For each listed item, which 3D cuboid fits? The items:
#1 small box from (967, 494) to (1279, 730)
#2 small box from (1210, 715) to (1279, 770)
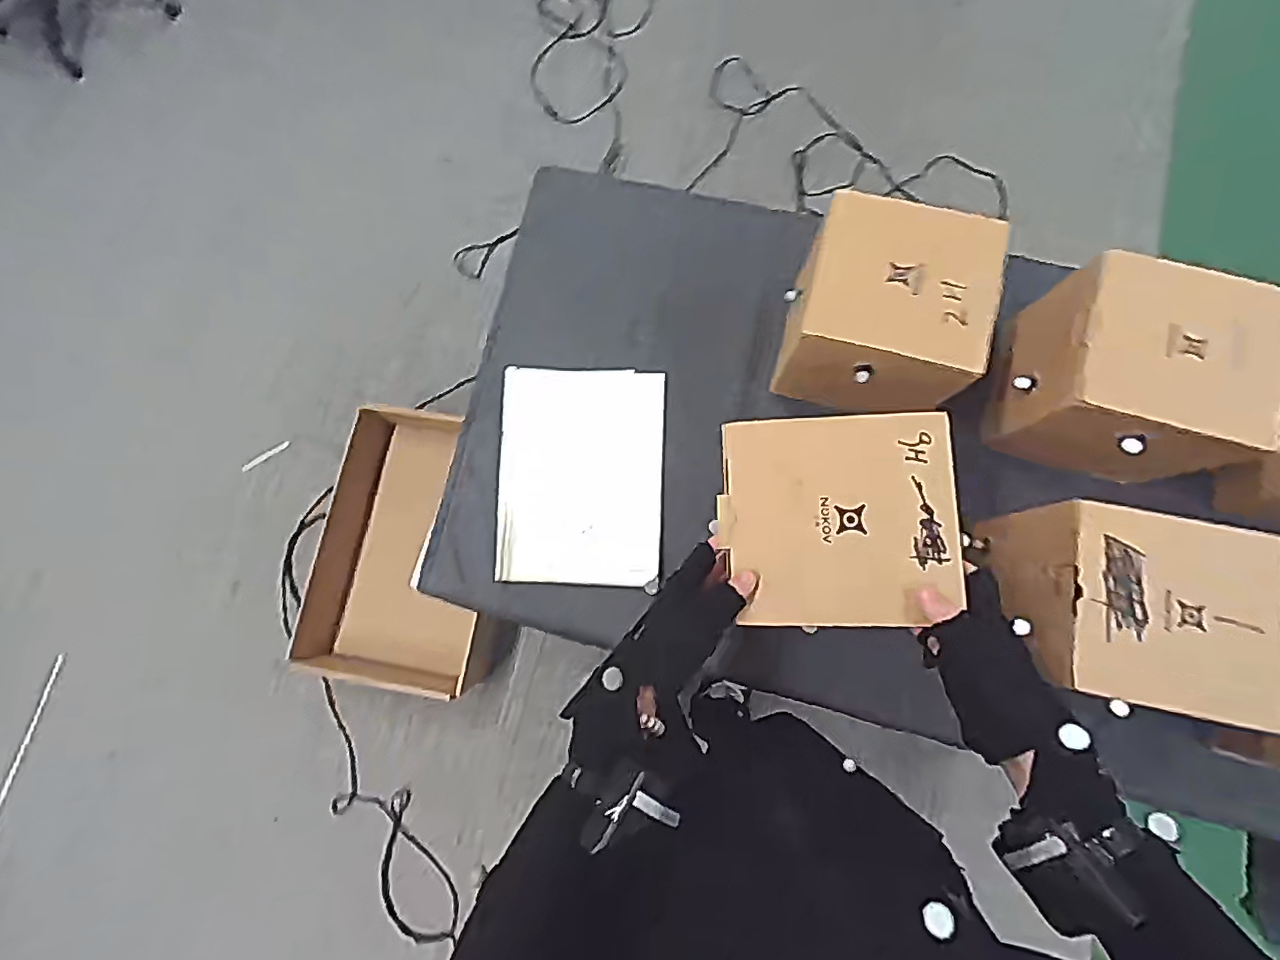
[{"bbox_3d":[0.456,0.123,0.532,0.179,0.176,0.168,12,79,4],"label":"small box"},{"bbox_3d":[0.702,0.209,0.506,0.168,0.176,0.179,18,80,6],"label":"small box"}]
